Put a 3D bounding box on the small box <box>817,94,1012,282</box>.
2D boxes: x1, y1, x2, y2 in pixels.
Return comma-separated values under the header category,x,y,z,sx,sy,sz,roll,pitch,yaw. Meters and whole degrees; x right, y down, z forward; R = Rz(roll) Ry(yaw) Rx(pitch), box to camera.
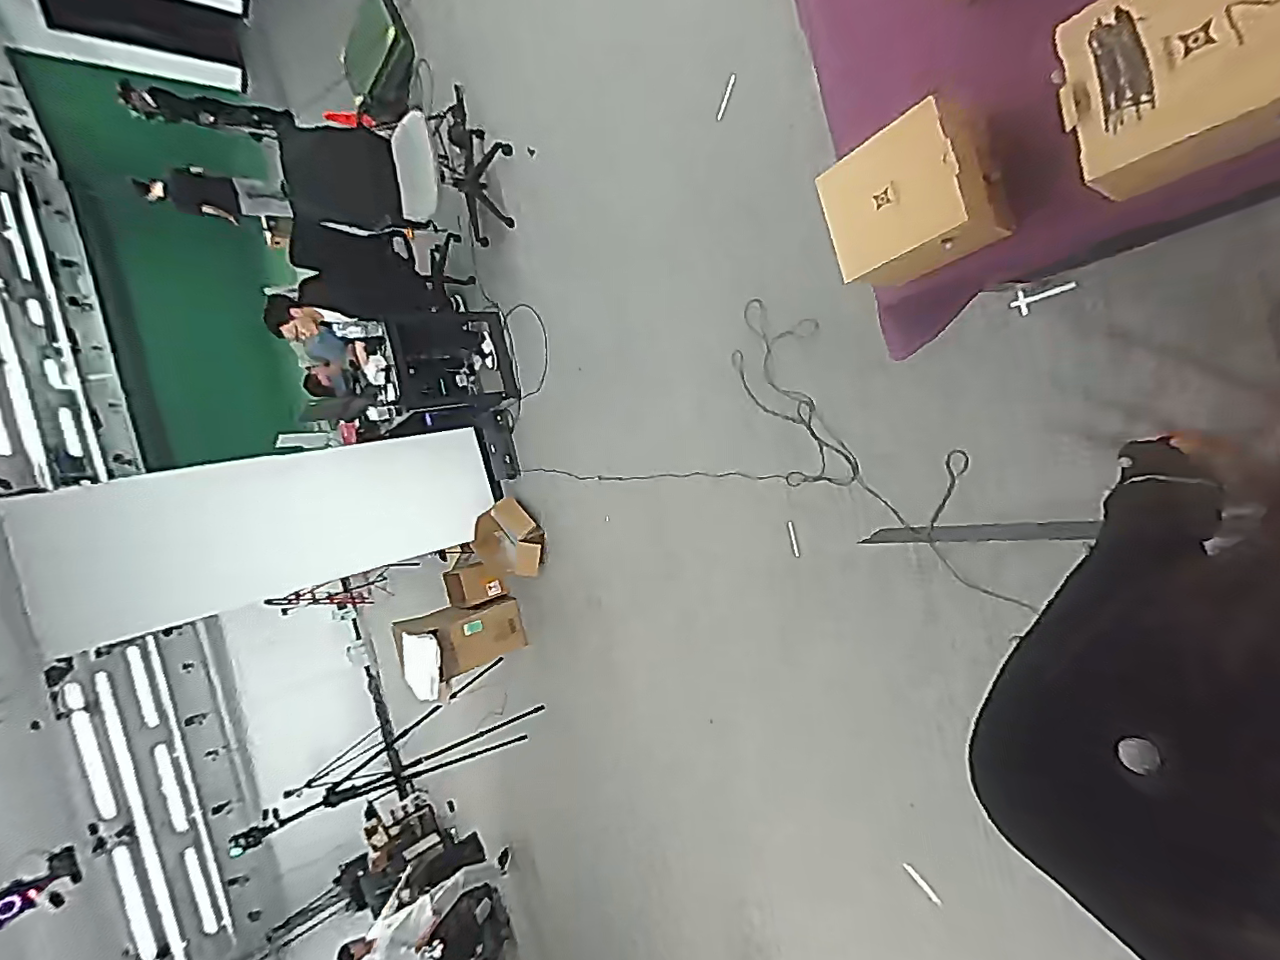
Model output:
category,x,y,z,sx,sy,sz,roll,pitch,yaw
small box,0.393,-0.397,0.777,0.179,0.176,0.168,-17,89,51
